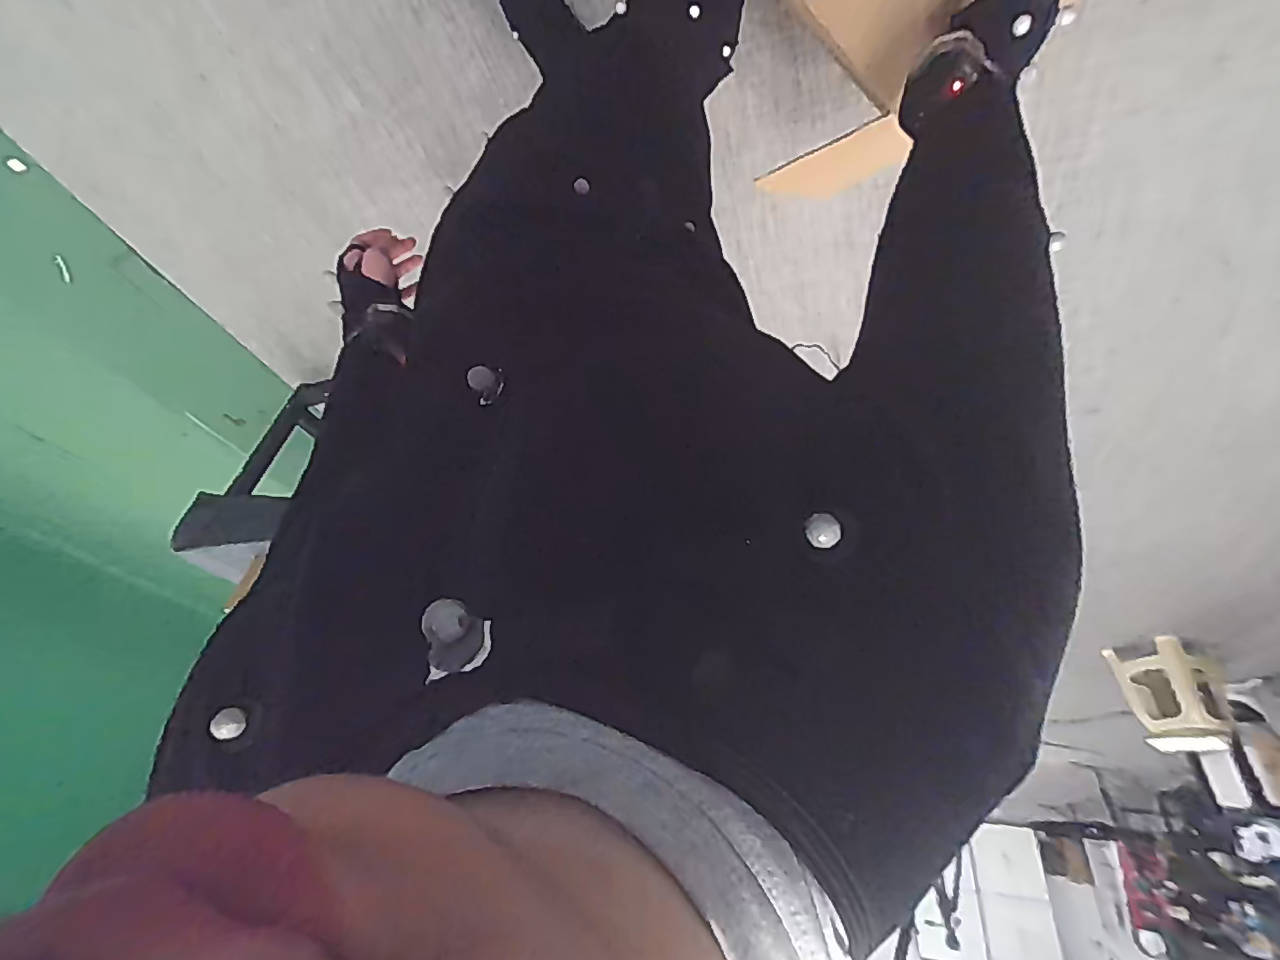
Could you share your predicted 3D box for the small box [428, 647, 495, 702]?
[{"bbox_3d":[-0.708,0.782,2.175,0.179,0.176,0.168,-10,139,29],"label":"small box"}]
